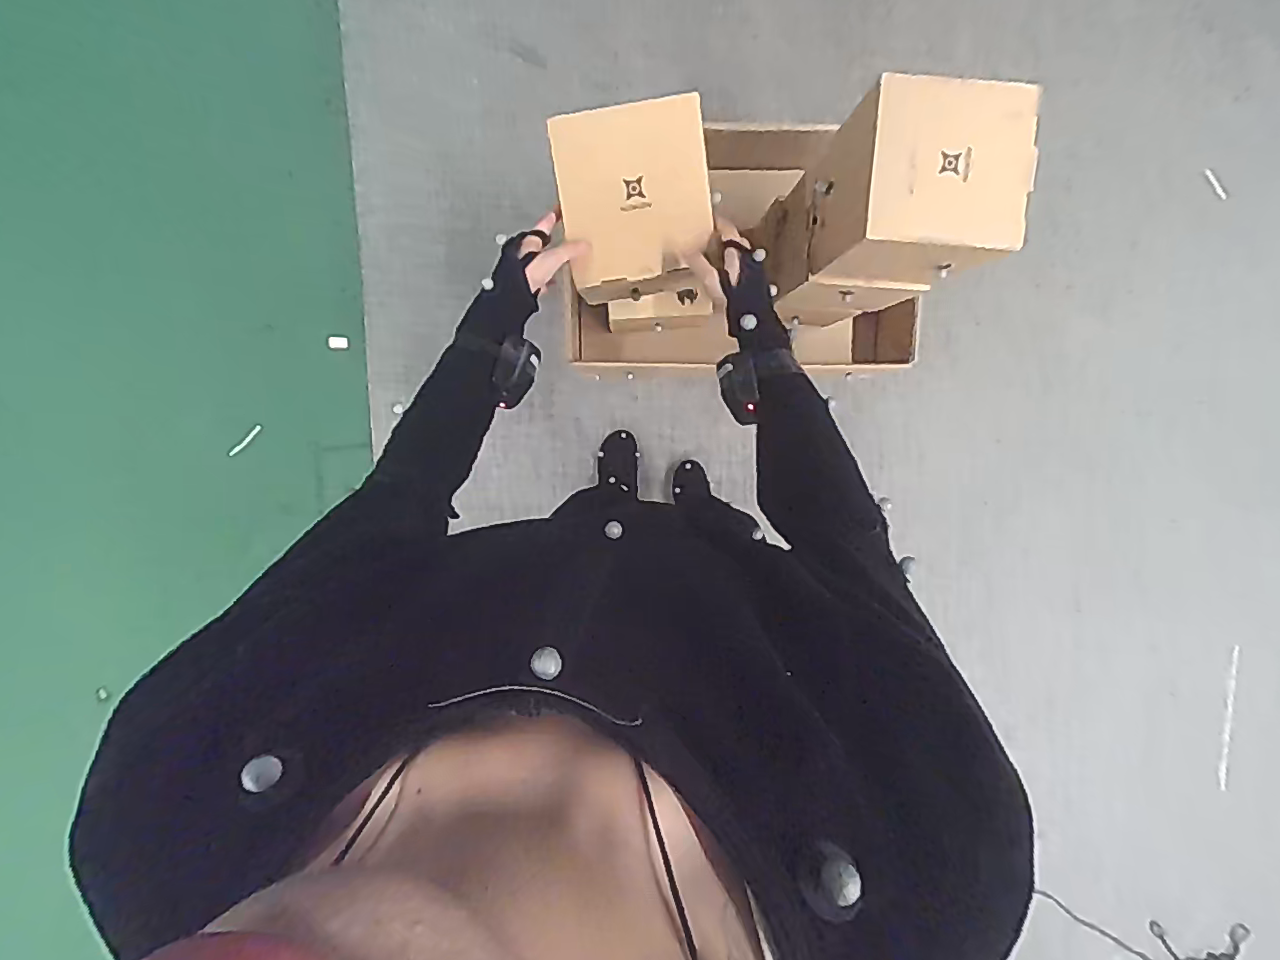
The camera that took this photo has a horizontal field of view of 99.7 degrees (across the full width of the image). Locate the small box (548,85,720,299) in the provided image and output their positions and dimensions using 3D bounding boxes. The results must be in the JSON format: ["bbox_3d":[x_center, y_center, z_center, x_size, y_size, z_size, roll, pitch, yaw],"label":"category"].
[{"bbox_3d":[-0.006,-0.328,0.652,0.168,0.176,0.179,-9,103,2],"label":"small box"}]

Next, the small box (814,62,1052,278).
[{"bbox_3d":[0.324,-0.343,0.633,0.179,0.176,0.168,3,97,-1],"label":"small box"}]

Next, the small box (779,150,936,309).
[{"bbox_3d":[0.315,-0.354,0.796,0.179,0.176,0.168,4,97,-2],"label":"small box"}]
